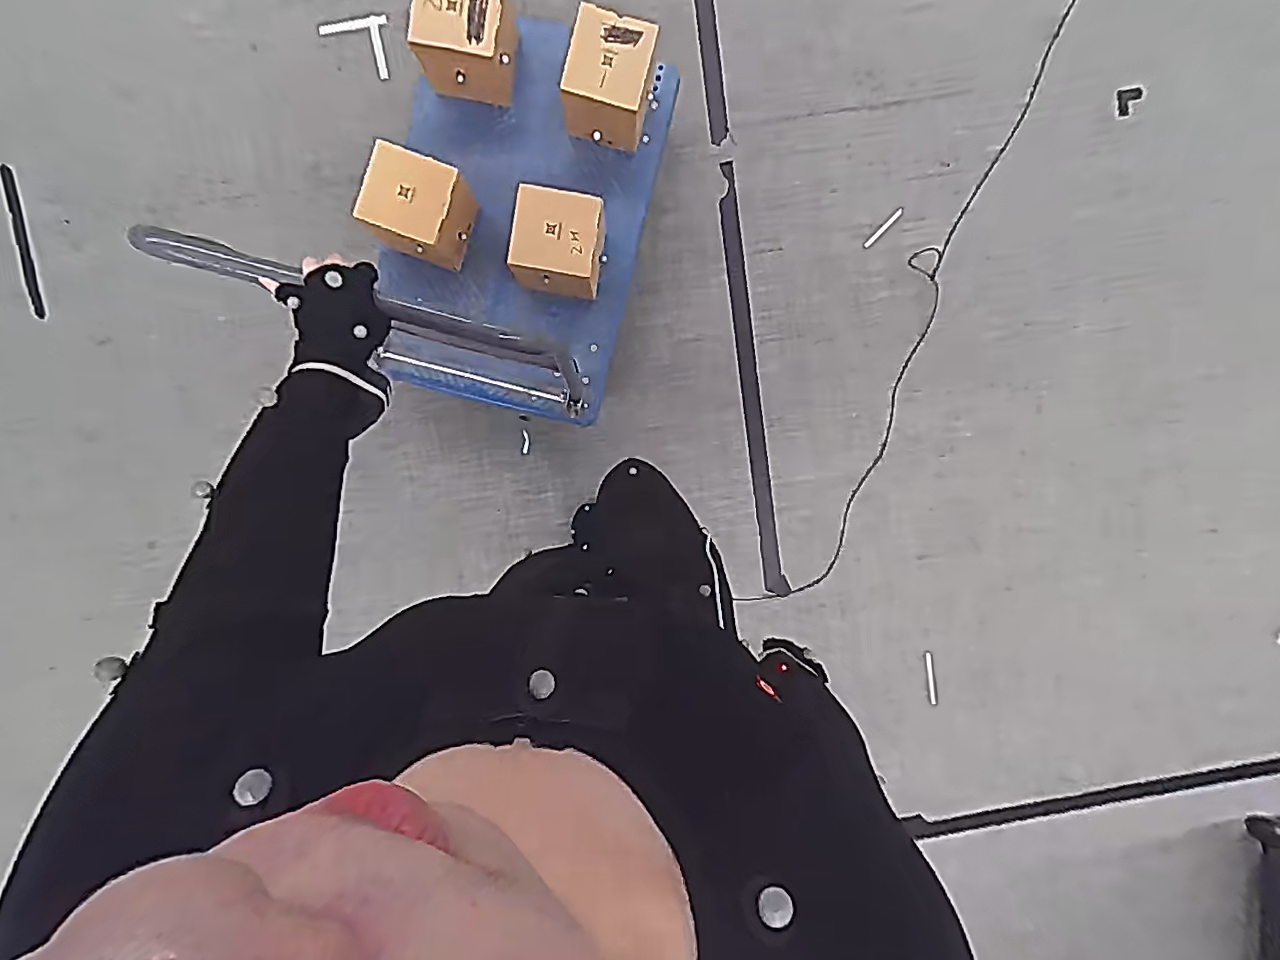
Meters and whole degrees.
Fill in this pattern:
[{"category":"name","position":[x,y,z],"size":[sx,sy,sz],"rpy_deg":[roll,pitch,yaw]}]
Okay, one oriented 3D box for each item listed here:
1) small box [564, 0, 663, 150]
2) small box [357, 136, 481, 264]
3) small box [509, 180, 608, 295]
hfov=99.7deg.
[{"category":"small box","position":[-0.057,-0.862,1.165],"size":[0.168,0.176,0.179],"rpy_deg":[15,94,-3]},{"category":"small box","position":[-0.469,-0.592,1.171],"size":[0.179,0.176,0.168],"rpy_deg":[19,93,-4]},{"category":"small box","position":[-0.171,-0.520,1.183],"size":[0.179,0.176,0.168],"rpy_deg":[10,93,-2]}]
